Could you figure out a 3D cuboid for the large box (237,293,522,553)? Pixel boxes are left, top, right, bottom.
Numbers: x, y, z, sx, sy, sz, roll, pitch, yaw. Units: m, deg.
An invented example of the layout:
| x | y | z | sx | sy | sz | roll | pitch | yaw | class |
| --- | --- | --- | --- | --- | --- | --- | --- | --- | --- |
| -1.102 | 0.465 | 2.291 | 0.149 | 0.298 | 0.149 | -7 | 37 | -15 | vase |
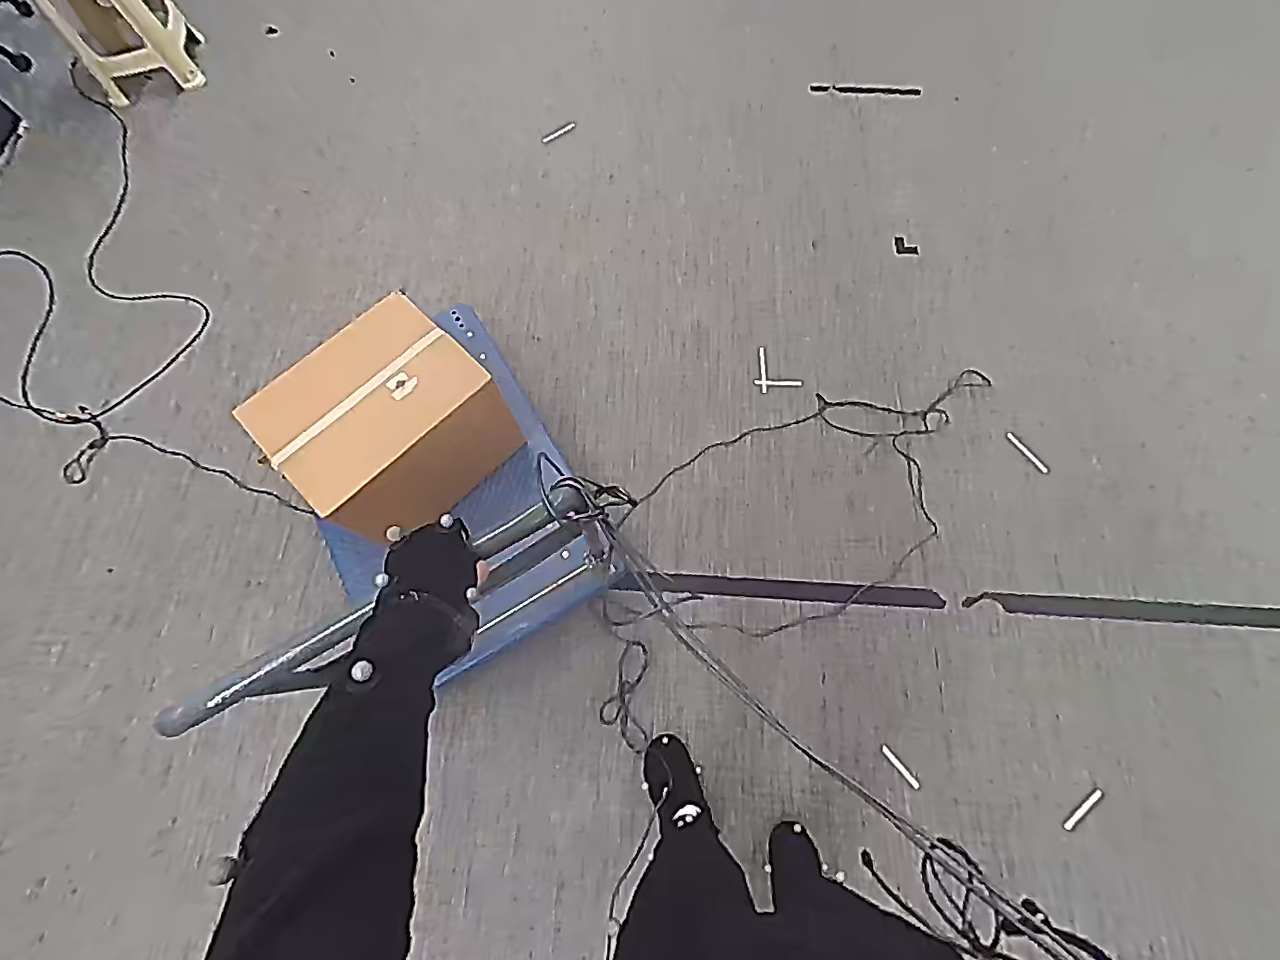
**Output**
| x | y | z | sx | sy | sz | roll | pitch | yaw | class |
| --- | --- | --- | --- | --- | --- | --- | --- | --- | --- |
| -0.534 | -0.109 | 1.187 | 0.320 | 0.320 | 0.408 | 42 | 76 | 14 | large box |
